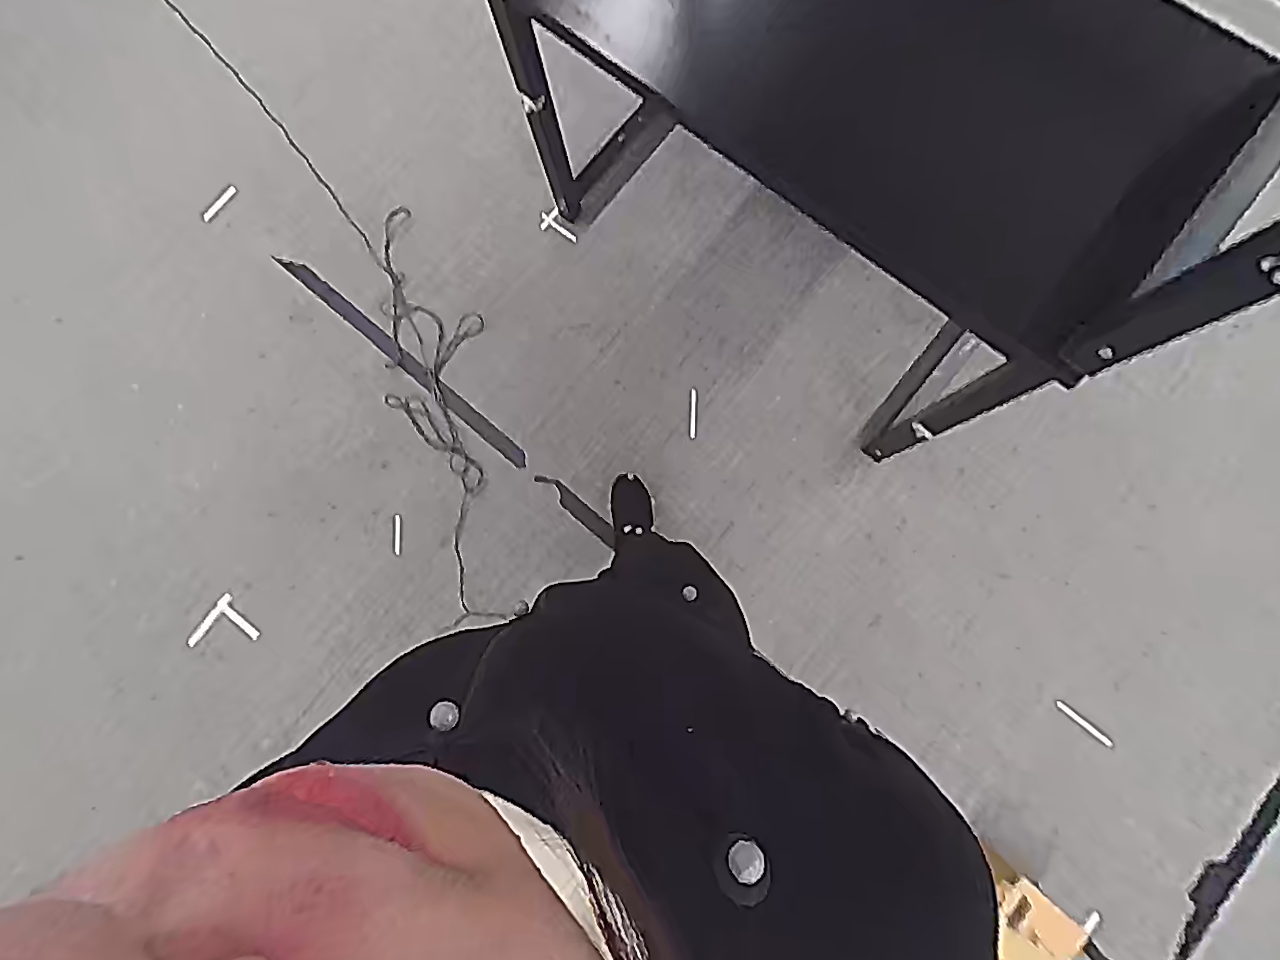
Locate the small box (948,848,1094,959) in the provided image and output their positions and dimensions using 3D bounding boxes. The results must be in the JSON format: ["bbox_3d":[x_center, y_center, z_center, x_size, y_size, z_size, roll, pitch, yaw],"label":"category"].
[{"bbox_3d":[0.855,0.990,1.235,0.179,0.176,0.168,41,87,7],"label":"small box"}]
